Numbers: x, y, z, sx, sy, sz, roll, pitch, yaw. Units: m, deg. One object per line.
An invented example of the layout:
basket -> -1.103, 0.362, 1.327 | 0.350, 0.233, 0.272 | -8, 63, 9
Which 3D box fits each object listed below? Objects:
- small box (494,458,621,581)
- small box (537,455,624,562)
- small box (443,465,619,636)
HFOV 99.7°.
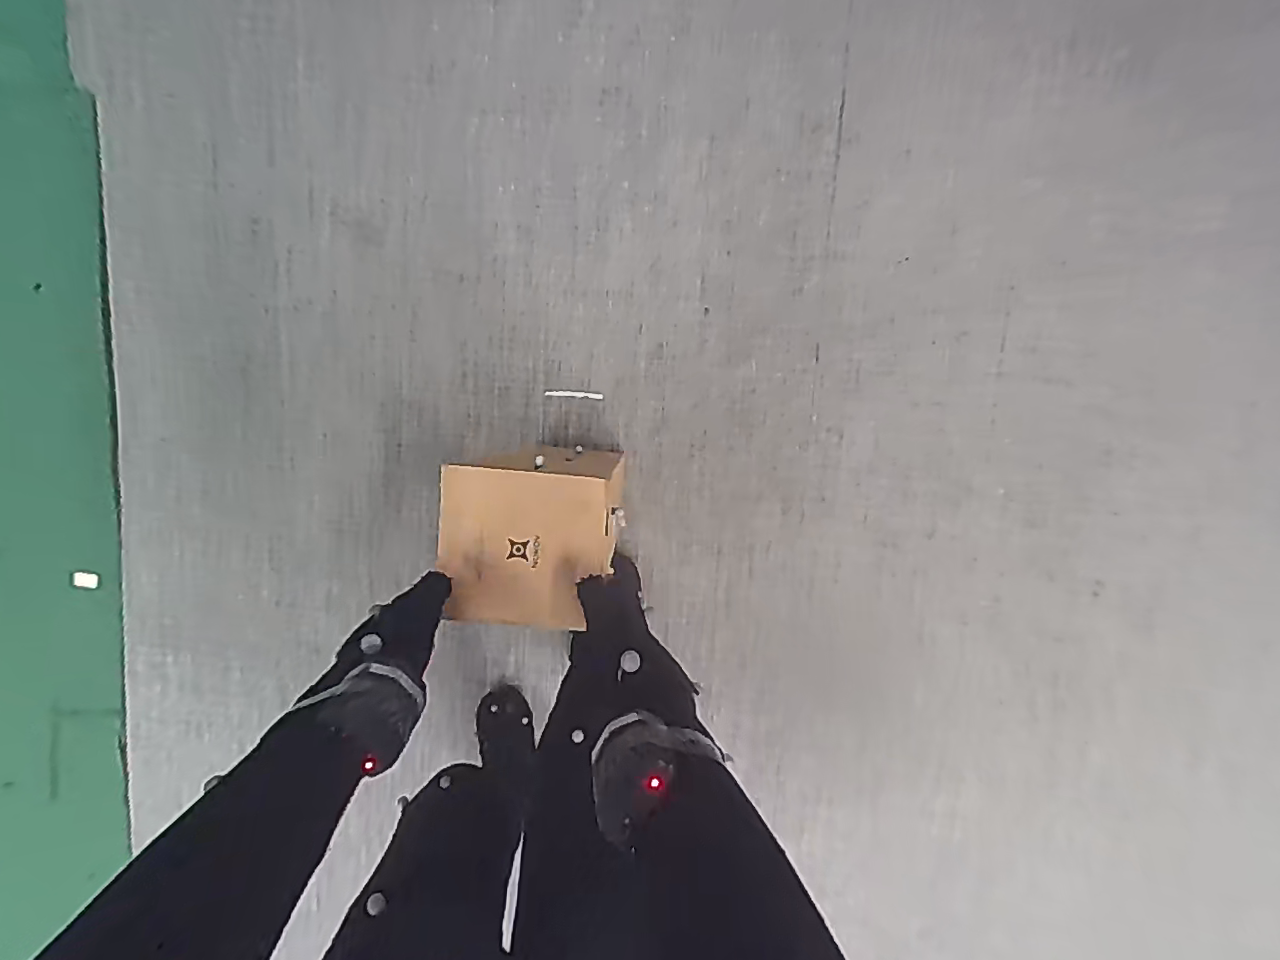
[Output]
small box -> -0.121, 0.059, 0.809 | 0.179, 0.176, 0.168 | 6, 96, -1
small box -> -0.118, 0.044, 0.971 | 0.179, 0.176, 0.168 | 2, 96, 0
small box -> -0.118, 0.072, 0.647 | 0.179, 0.176, 0.168 | 4, 95, 0
